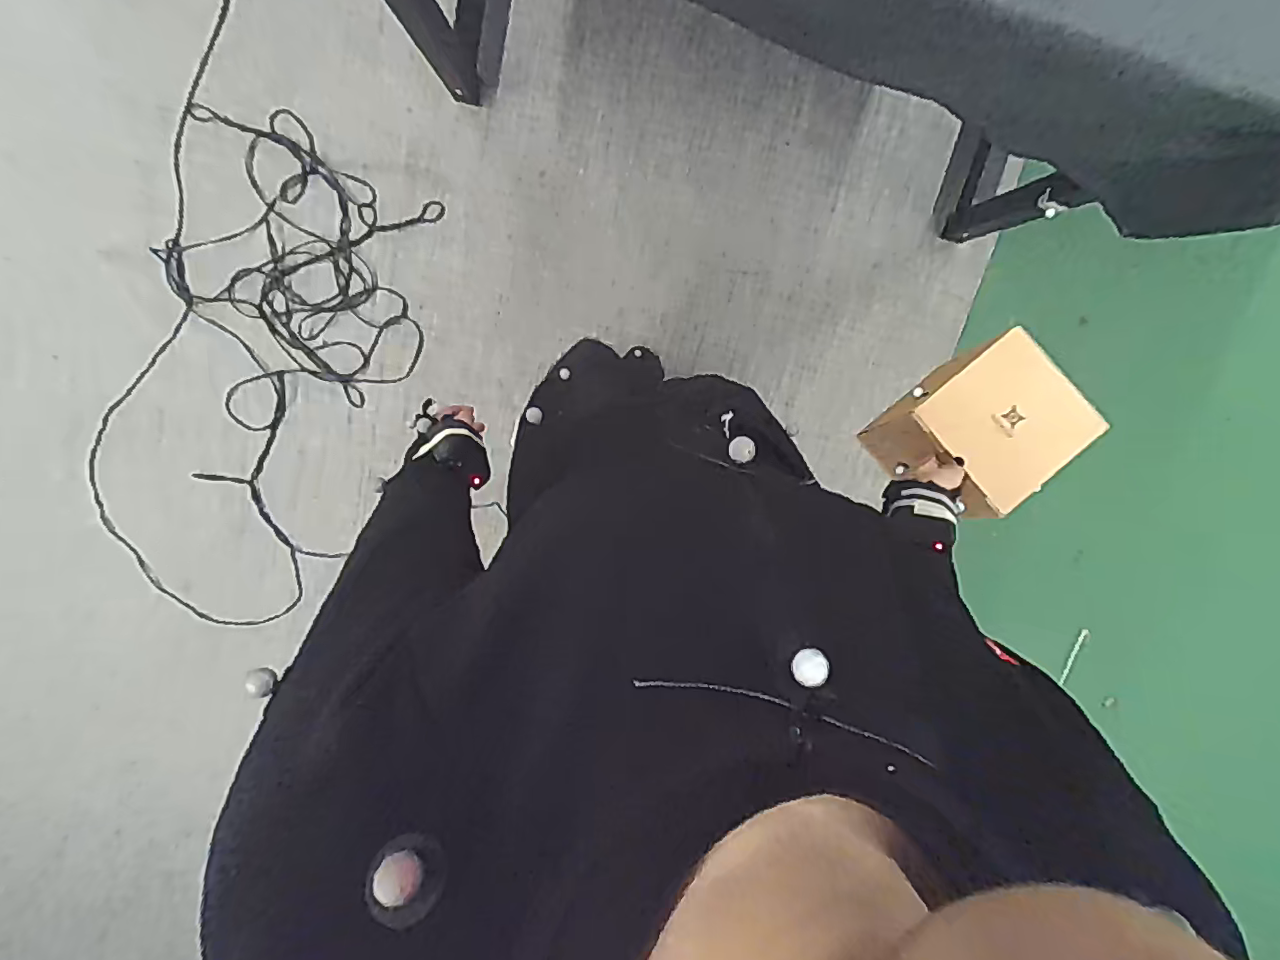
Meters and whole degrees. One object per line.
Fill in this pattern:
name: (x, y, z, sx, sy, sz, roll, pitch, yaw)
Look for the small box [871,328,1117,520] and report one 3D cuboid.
small box: (0.449, -0.063, 0.718, 0.179, 0.176, 0.168, -39, 85, -1)
